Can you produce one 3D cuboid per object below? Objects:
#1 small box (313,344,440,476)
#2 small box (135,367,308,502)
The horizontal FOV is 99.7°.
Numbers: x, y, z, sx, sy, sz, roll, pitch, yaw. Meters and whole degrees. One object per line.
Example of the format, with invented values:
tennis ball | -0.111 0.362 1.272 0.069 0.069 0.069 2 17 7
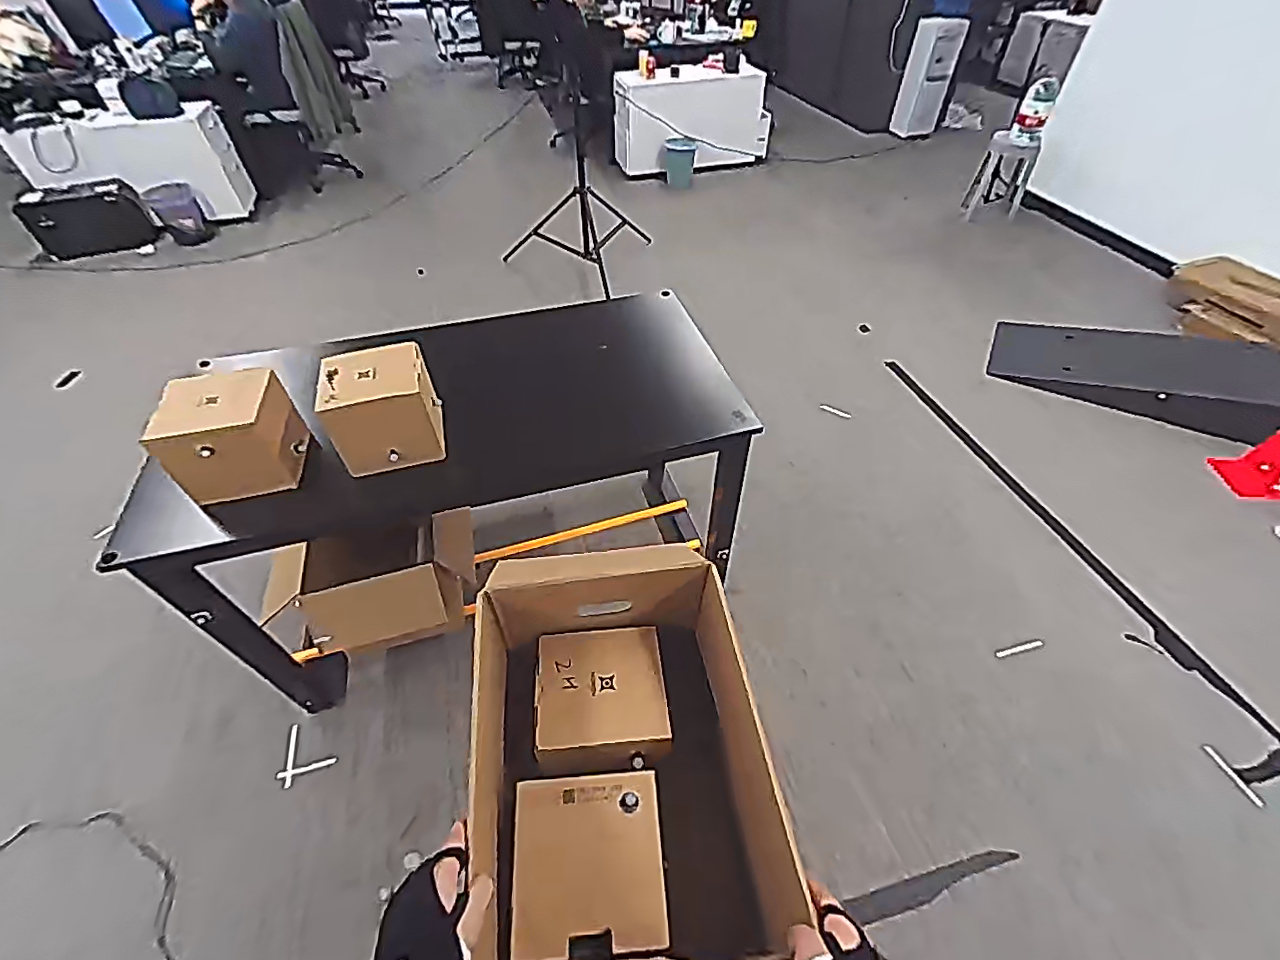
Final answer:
small box | -0.489 -0.132 1.031 0.179 0.176 0.168 -13 48 -12
small box | -0.743 -0.079 0.984 0.179 0.176 0.168 -11 49 -11
